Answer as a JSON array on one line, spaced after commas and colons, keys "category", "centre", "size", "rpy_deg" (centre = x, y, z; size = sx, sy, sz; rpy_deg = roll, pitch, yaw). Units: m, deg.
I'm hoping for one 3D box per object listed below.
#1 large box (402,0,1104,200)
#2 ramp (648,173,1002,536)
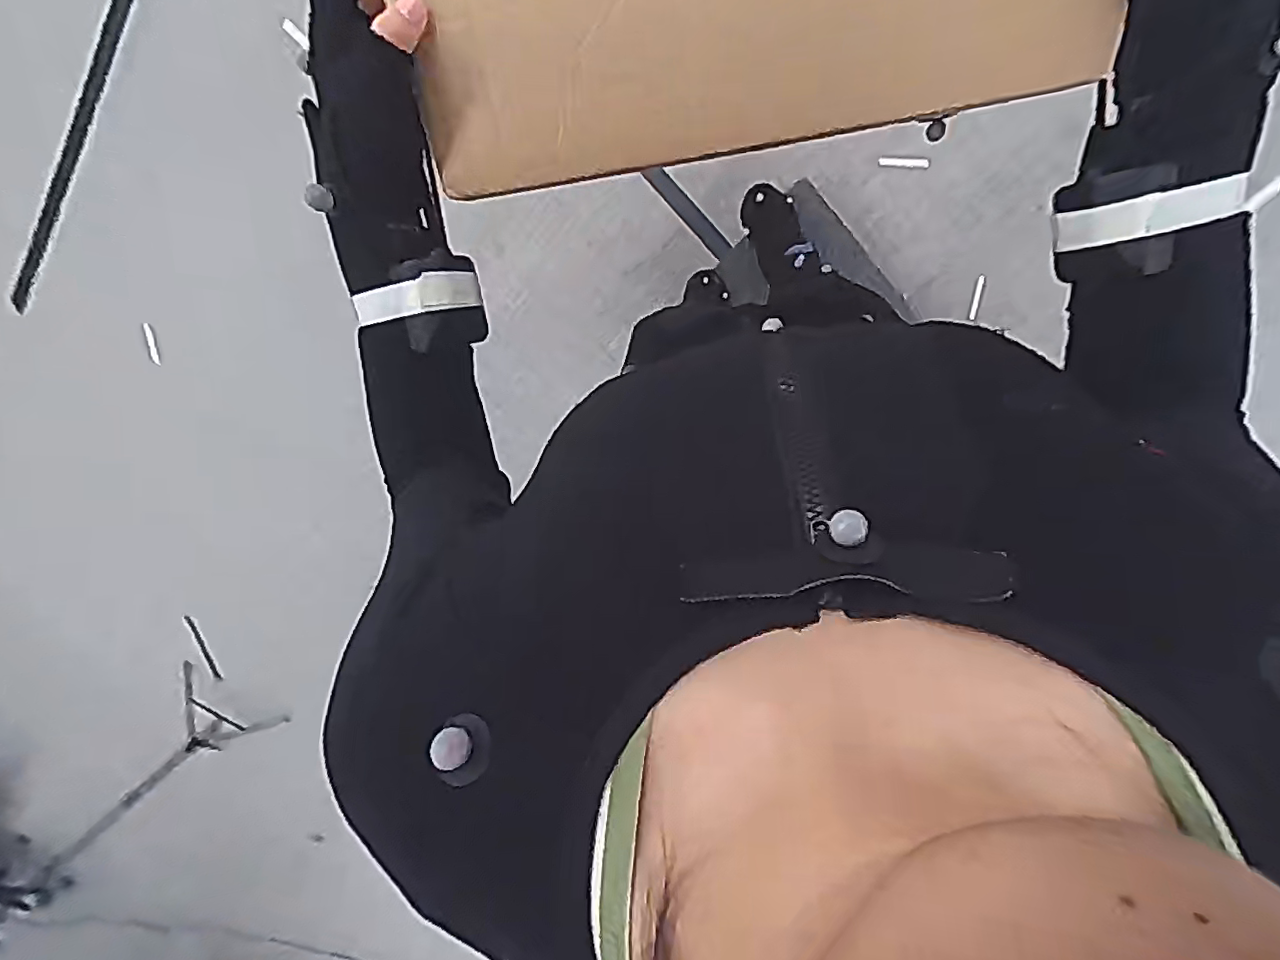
[{"category": "large box", "centre": [0.058, -0.421, 0.397], "size": [0.408, 0.320, 0.320], "rpy_deg": [-5, 120, 7]}, {"category": "ramp", "centre": [0.540, -0.262, 1.489], "size": [0.991, 0.206, 0.509], "rpy_deg": [41, 111, -11]}]
